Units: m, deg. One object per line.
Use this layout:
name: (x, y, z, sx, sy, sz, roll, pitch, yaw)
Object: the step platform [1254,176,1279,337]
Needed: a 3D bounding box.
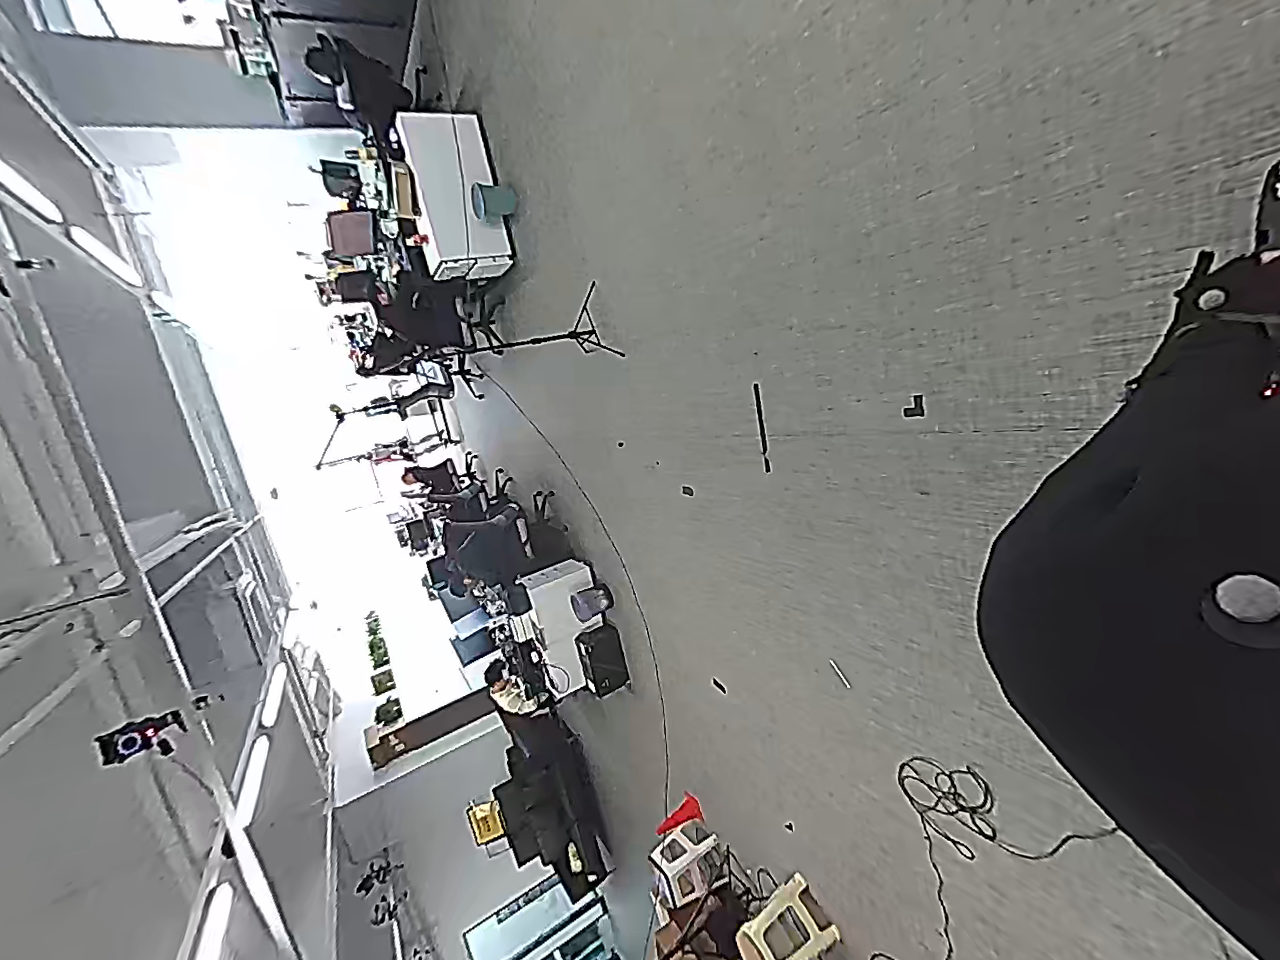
step platform: (1.291, -0.379, 0.682, 0.684, 0.204, 0.286, 5, 112, 60)
